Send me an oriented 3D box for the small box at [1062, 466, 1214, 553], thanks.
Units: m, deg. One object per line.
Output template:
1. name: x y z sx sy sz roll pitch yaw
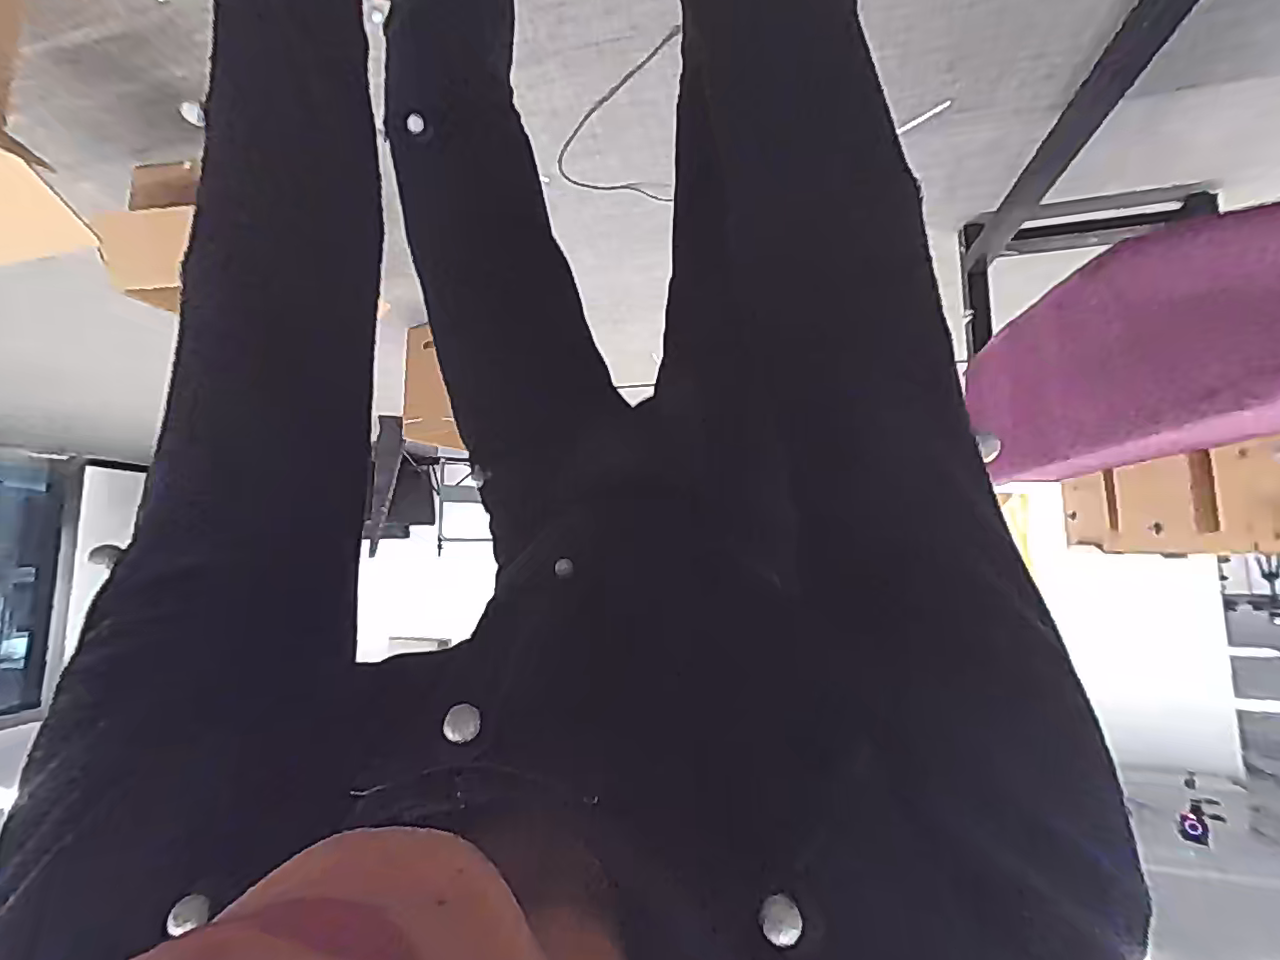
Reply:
1. small box: 1.030 0.066 1.136 0.179 0.176 0.168 -2 174 12
